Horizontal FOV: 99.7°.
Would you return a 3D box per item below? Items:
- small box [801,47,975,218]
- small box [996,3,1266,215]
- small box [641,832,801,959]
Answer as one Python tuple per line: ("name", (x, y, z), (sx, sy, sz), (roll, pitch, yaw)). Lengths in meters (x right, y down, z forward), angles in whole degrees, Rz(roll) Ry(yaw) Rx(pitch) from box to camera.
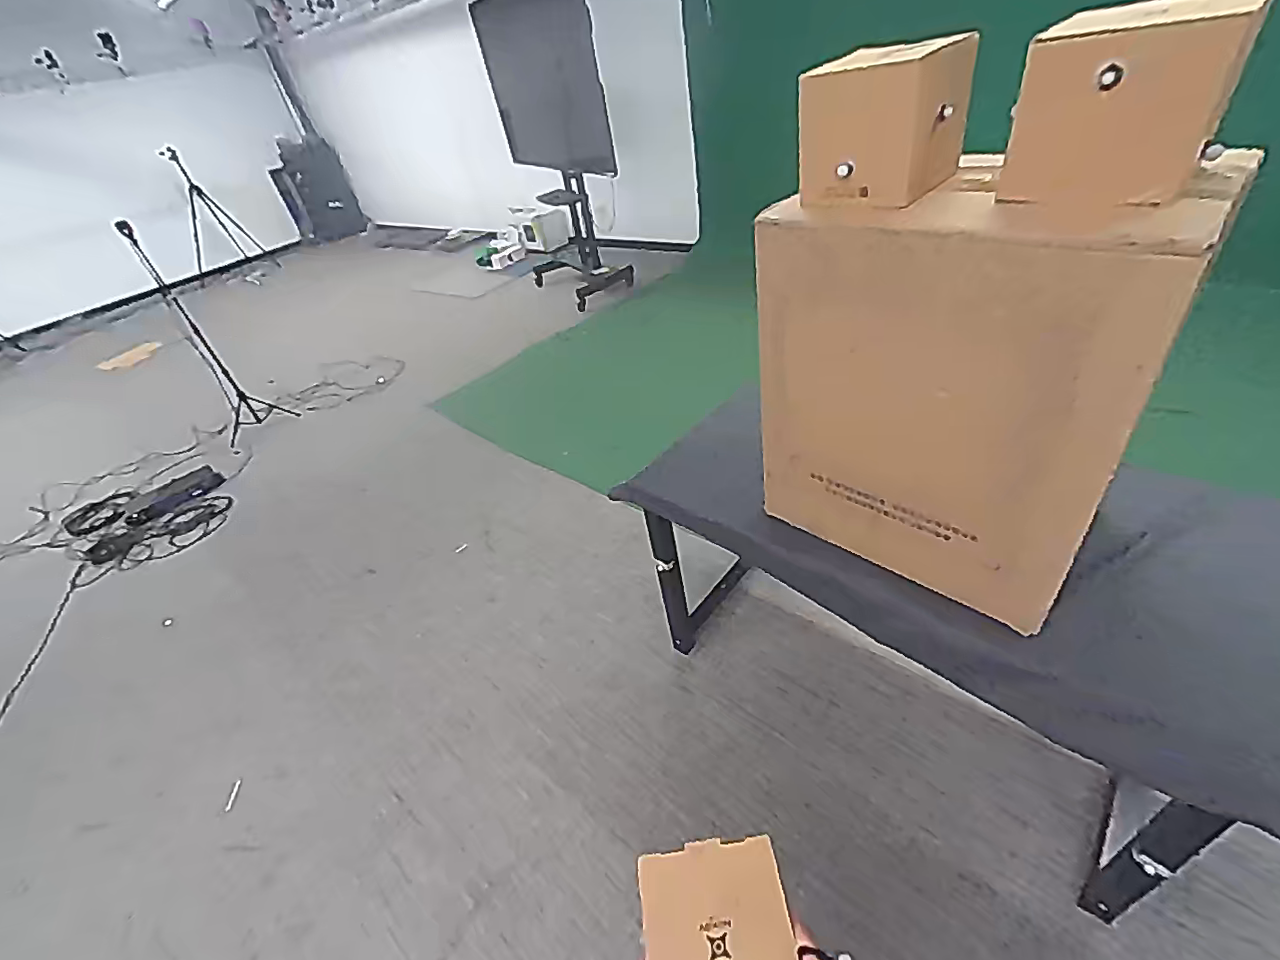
("small box", (0.350, -0.499, 0.785), (0.168, 0.176, 0.179), (26, 54, 40))
("small box", (0.554, -0.425, 0.633), (0.179, 0.176, 0.168), (27, 55, 37))
("small box", (0.098, 0.556, 0.649), (0.168, 0.176, 0.179), (-10, 43, 1))
